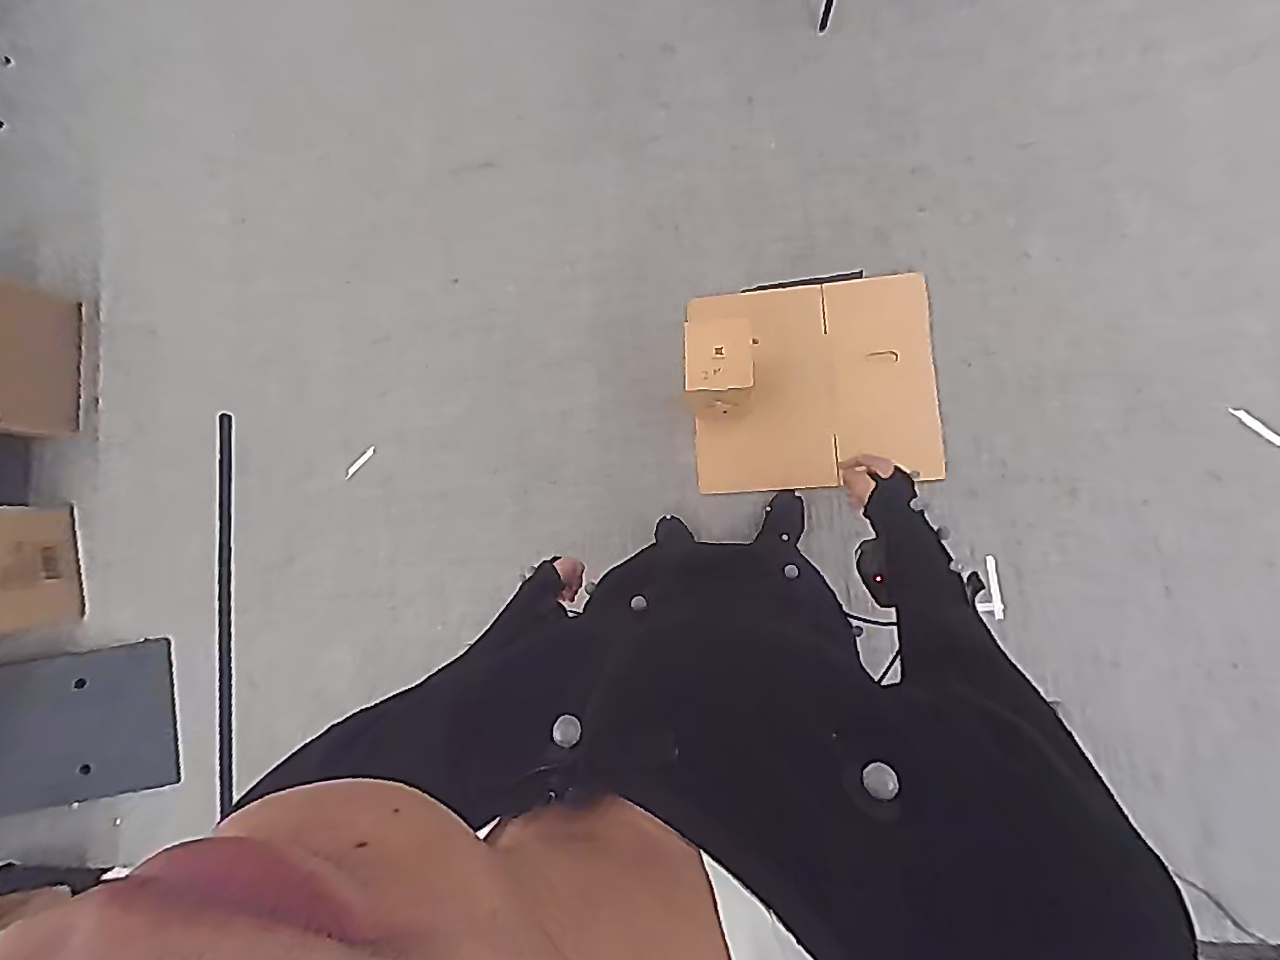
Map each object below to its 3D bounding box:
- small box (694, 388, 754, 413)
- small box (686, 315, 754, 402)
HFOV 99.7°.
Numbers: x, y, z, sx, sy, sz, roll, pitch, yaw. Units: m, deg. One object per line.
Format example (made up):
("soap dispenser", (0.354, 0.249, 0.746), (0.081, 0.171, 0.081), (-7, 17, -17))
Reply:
("small box", (0.241, -0.288, 1.545), (0.168, 0.176, 0.179), (-2, 87, 9))
("small box", (0.205, -0.305, 1.384), (0.168, 0.176, 0.179), (-1, 87, 10))
